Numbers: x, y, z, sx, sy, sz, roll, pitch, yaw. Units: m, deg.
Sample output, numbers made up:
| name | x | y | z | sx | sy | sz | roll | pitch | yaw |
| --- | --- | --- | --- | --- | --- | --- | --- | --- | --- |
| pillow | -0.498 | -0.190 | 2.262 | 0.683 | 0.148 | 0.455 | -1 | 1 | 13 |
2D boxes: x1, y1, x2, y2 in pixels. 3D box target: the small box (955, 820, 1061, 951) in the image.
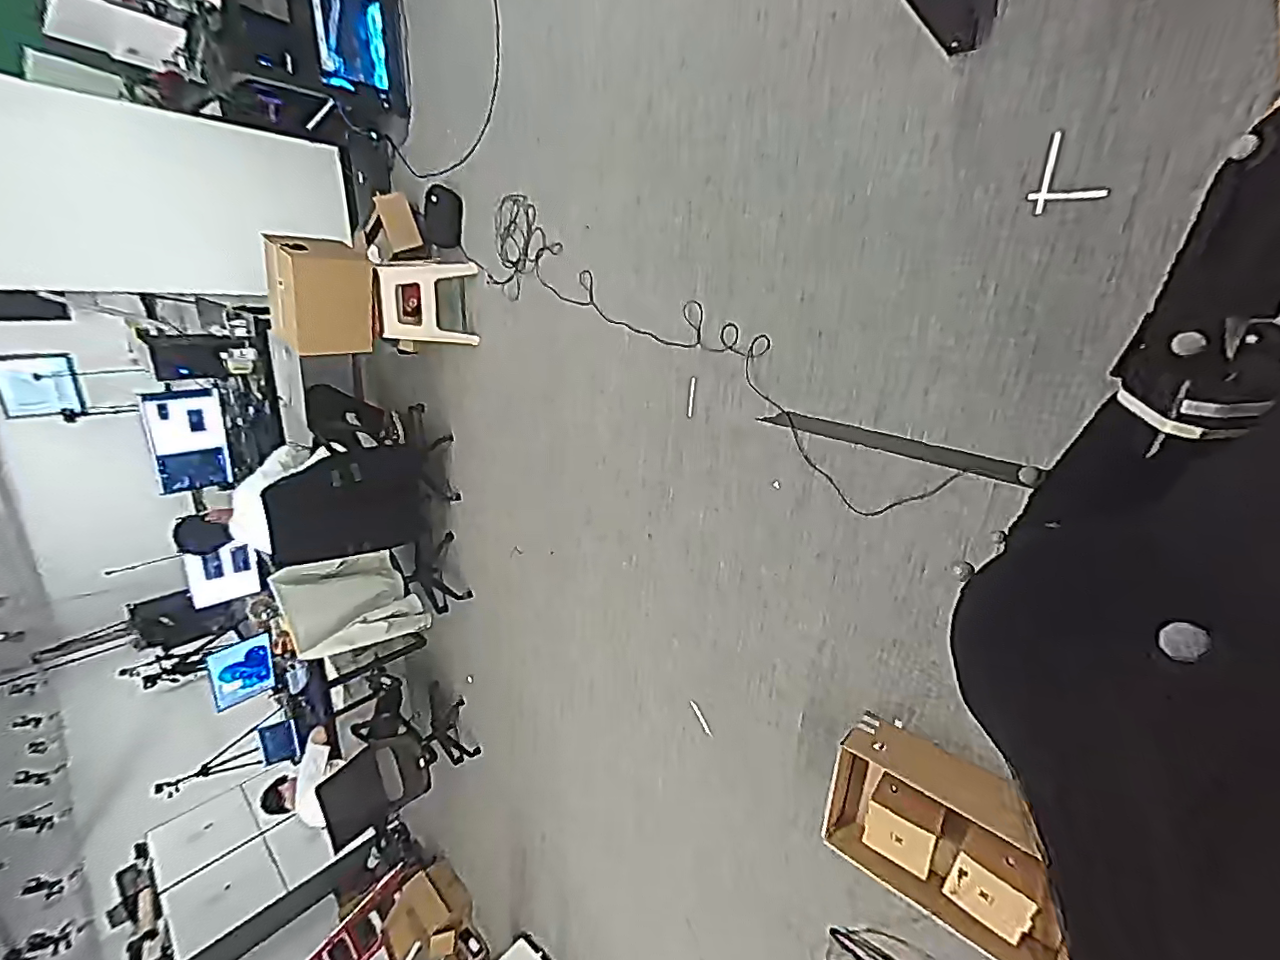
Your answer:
| name | x | y | z | sx | sy | sz | roll | pitch | yaw |
| --- | --- | --- | --- | --- | --- | --- | --- | --- | --- |
| small box | 0.952 | 1.033 | 1.395 | 0.179 | 0.176 | 0.168 | 24 | 118 | 38 |

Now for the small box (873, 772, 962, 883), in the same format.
| name | x | y | z | sx | sy | sz | roll | pitch | yaw |
| --- | --- | --- | --- | --- | --- | --- | --- | --- | --- |
| small box | 0.790 | 0.975 | 1.539 | 0.179 | 0.176 | 0.168 | 15 | 113 | 39 |
